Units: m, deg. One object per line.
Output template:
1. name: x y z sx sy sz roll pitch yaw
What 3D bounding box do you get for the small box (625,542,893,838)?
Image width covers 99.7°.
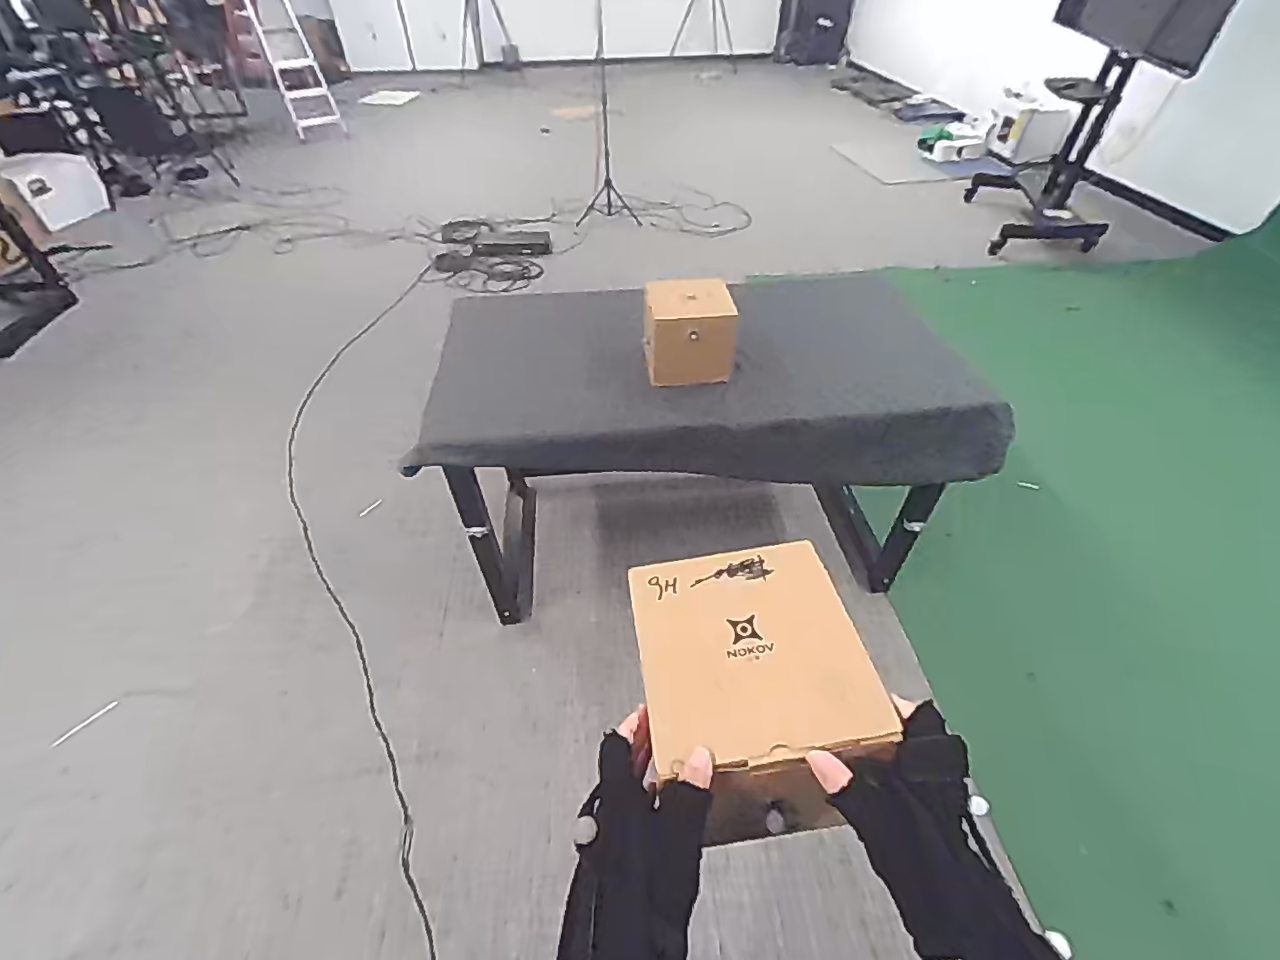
1. small box: 0.085 0.183 0.464 0.168 0.176 0.179 -9 42 -2

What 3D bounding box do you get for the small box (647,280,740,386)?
1. small box: 0.109 -0.319 1.185 0.179 0.176 0.168 -4 46 -5
